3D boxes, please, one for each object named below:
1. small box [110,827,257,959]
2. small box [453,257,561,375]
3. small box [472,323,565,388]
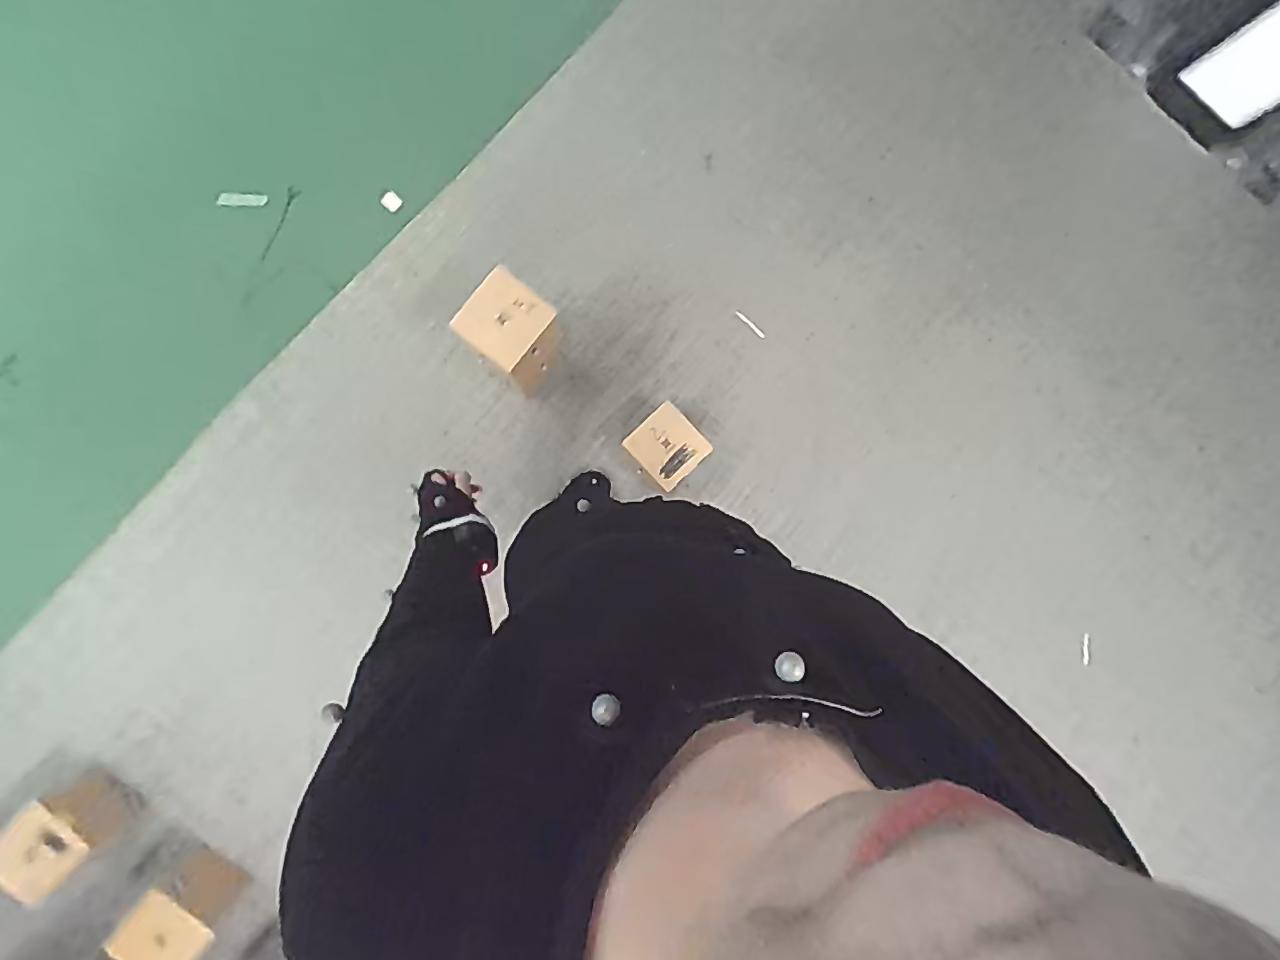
[{"bbox_3d":[-1.099,1.004,1.321,0.179,0.176,0.168,39,86,-3],"label":"small box"},{"bbox_3d":[-0.294,-0.366,1.248,0.168,0.176,0.179,39,86,-5],"label":"small box"},{"bbox_3d":[-0.306,-0.364,1.412,0.168,0.176,0.179,40,85,-4],"label":"small box"}]
